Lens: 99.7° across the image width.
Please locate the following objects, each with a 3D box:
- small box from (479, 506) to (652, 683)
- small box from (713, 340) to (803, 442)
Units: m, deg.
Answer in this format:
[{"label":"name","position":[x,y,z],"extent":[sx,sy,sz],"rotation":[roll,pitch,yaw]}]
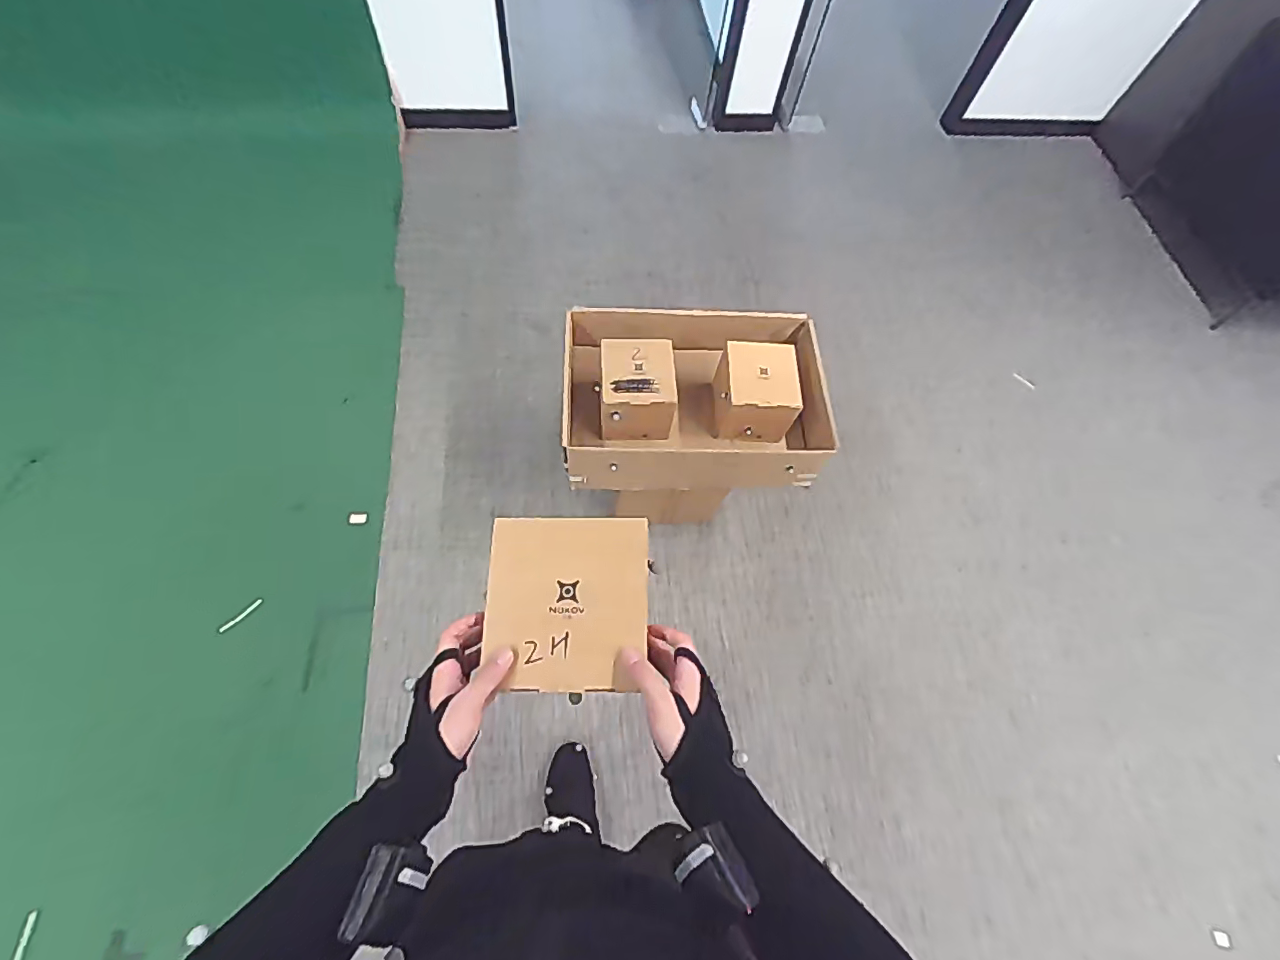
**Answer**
[{"label":"small box","position":[-0.071,0.138,0.622],"extent":[0.168,0.176,0.179],"rotation":[0,70,1]},{"label":"small box","position":[0.276,-0.211,1.306],"extent":[0.168,0.176,0.179],"rotation":[2,65,-5]}]
